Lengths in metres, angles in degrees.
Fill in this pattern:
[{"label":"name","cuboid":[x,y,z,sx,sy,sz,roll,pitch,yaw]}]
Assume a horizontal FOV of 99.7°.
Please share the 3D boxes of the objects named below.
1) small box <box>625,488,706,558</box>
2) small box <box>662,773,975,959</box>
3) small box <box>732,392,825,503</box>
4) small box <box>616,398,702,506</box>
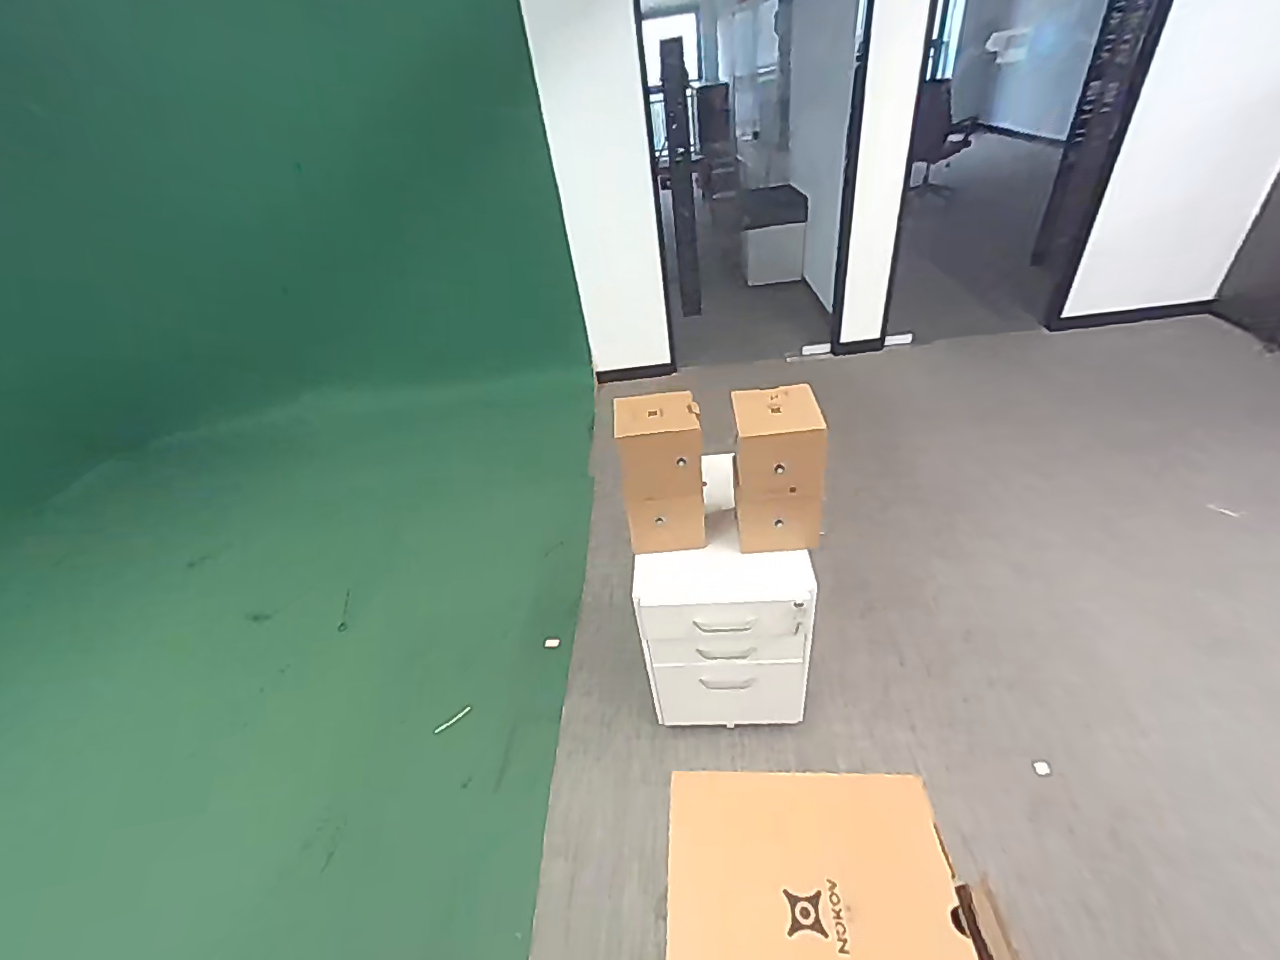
[{"label":"small box","cuboid":[0.061,0.070,1.285,0.179,0.176,0.168,-5,38,2]},{"label":"small box","cuboid":[0.110,0.326,0.367,0.179,0.176,0.168,-2,34,7]},{"label":"small box","cuboid":[0.286,-0.063,1.137,0.168,0.176,0.179,-5,37,7]},{"label":"small box","cuboid":[0.042,-0.060,1.188,0.179,0.176,0.168,-7,36,2]}]
